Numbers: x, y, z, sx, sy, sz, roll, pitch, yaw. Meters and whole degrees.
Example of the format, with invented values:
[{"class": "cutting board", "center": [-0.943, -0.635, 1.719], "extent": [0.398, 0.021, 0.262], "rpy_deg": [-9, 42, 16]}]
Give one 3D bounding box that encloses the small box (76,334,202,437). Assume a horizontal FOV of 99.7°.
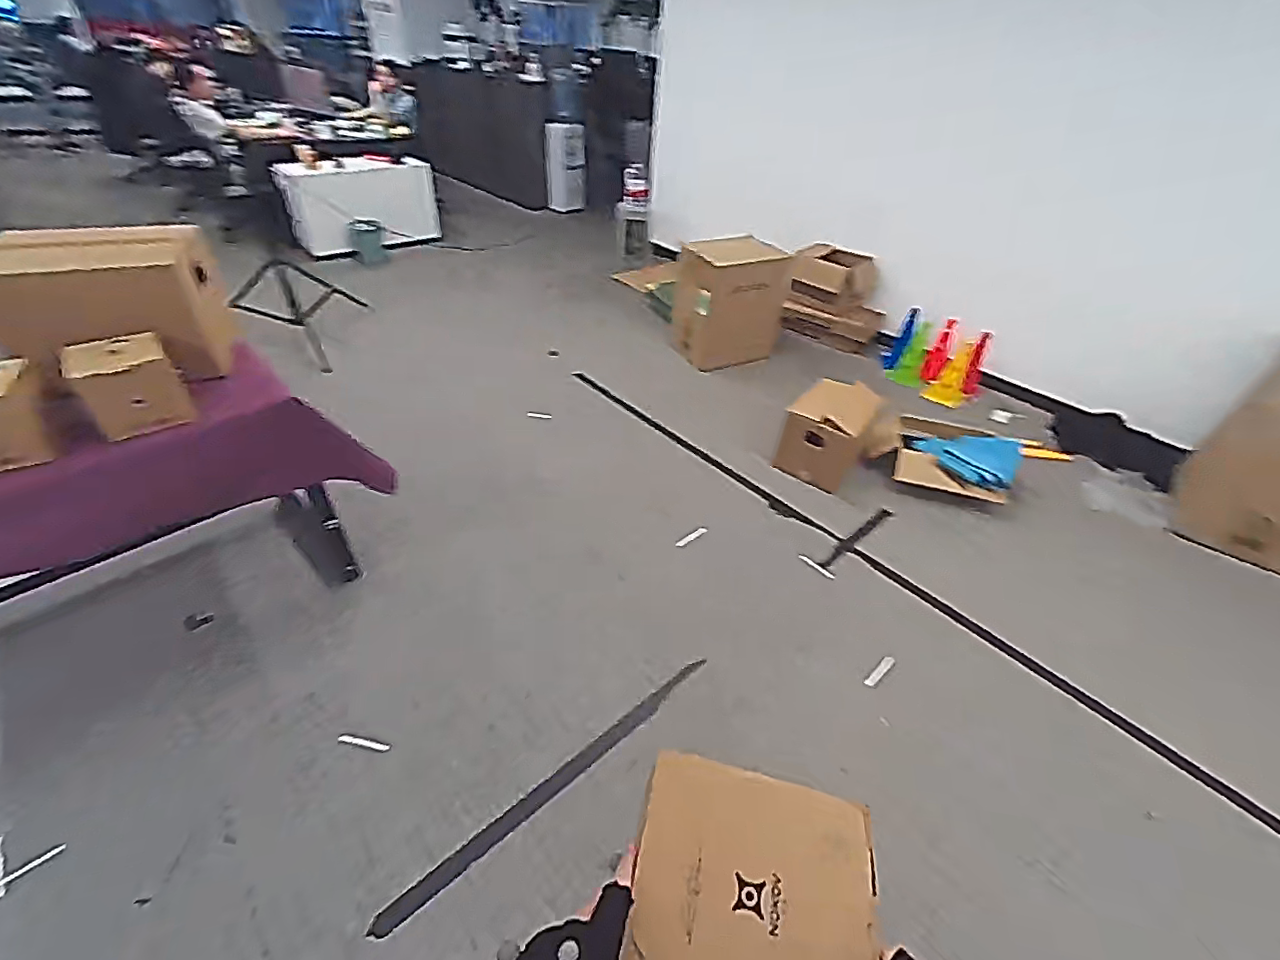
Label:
[{"class": "small box", "center": [-1.181, -0.220, 1.282], "extent": [0.168, 0.176, 0.179], "rpy_deg": [-25, 48, -32]}]
